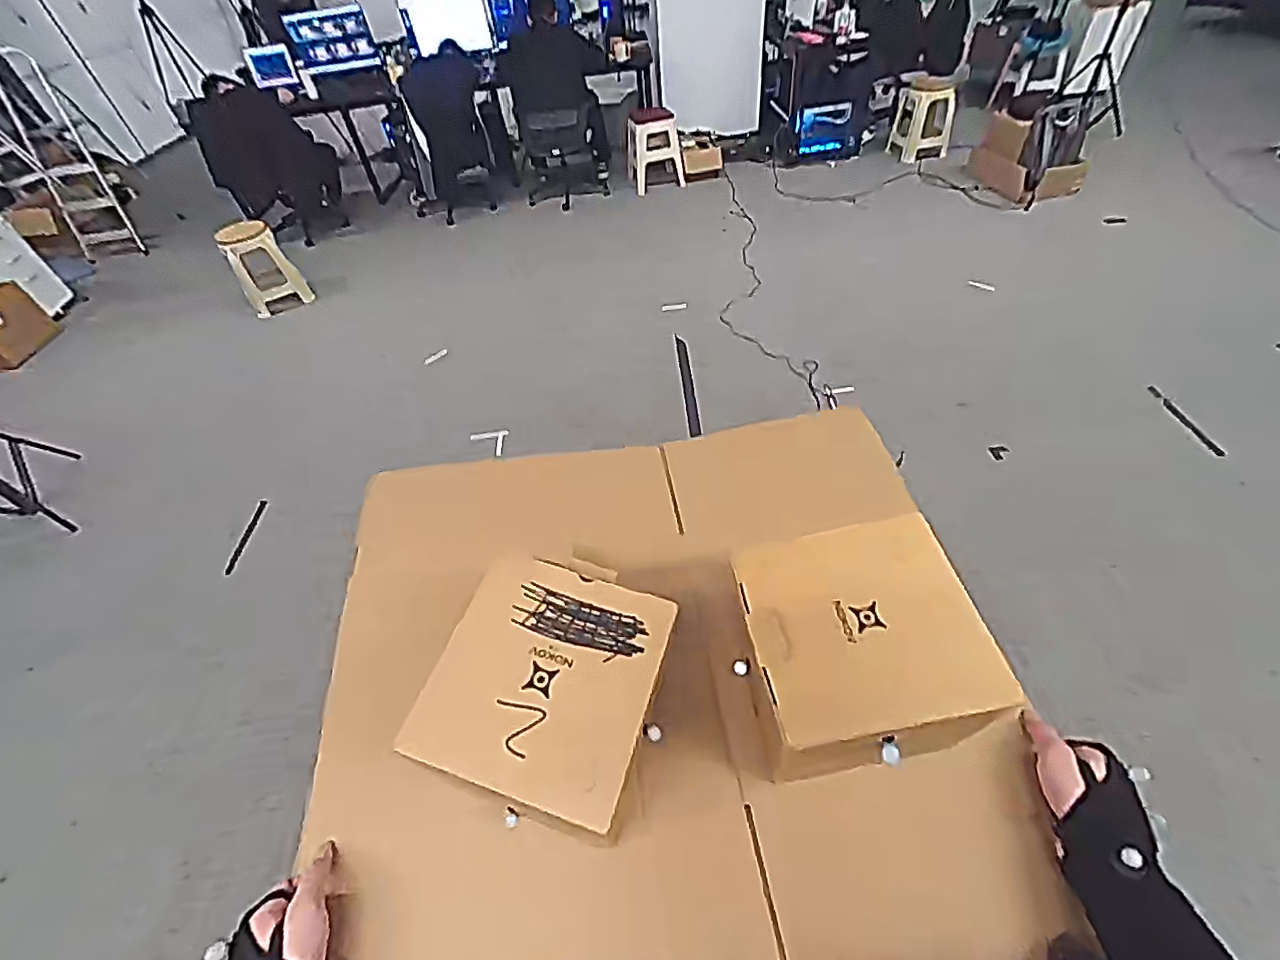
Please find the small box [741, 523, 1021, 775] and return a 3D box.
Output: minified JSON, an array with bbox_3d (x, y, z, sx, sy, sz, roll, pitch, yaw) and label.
[{"bbox_3d":[0.200,0.166,0.514,0.179,0.176,0.168,-12,52,1],"label":"small box"}]
